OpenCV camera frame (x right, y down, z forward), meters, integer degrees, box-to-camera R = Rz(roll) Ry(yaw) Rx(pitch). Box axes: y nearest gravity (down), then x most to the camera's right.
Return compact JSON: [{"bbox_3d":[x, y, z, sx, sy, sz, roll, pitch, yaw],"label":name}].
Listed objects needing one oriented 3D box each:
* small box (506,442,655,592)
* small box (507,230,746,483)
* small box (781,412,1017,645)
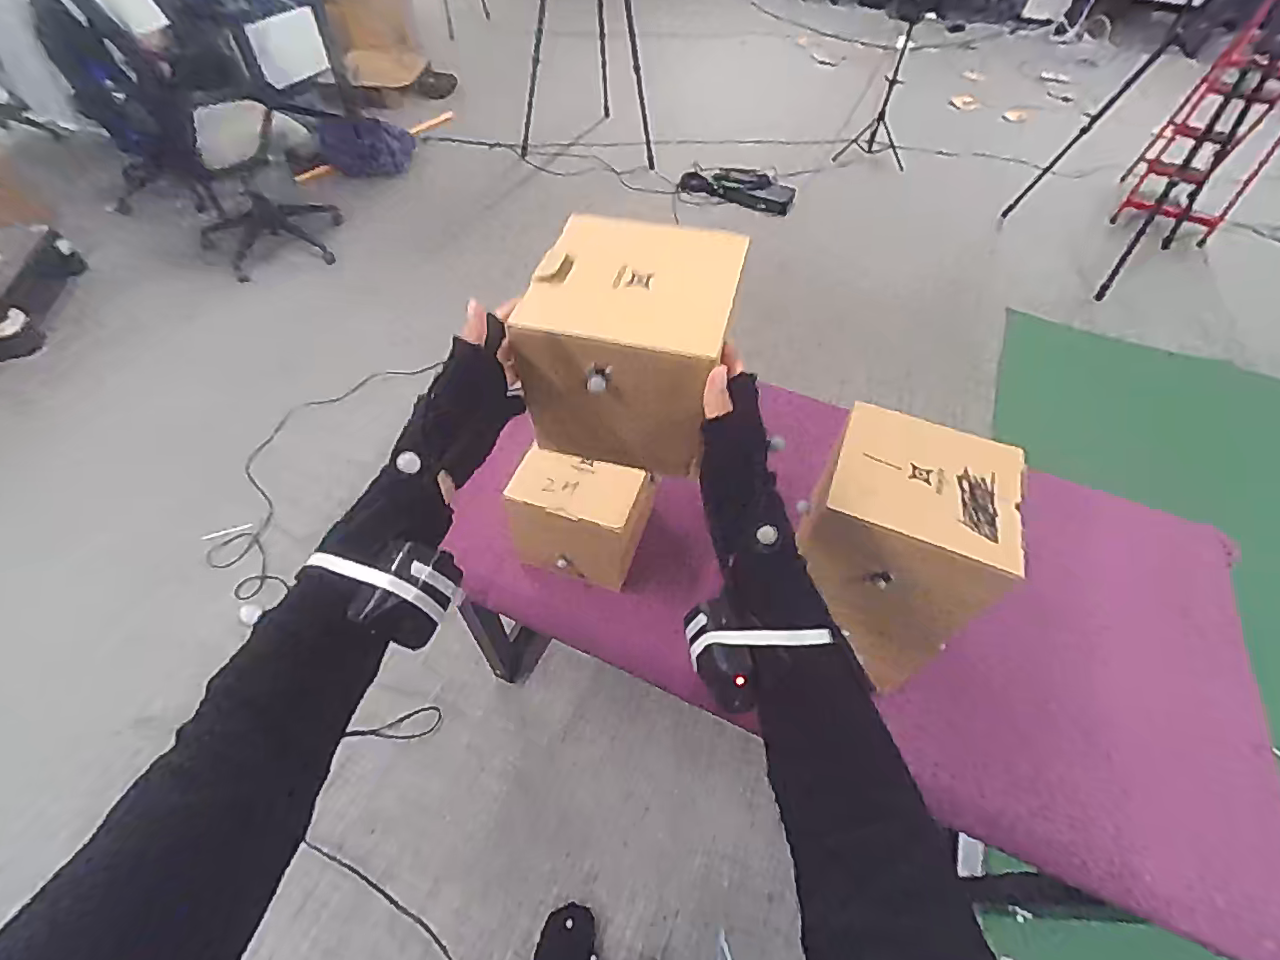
[{"bbox_3d":[-0.079,0.034,0.803,0.168,0.176,0.179,17,52,9],"label":"small box"},{"bbox_3d":[-0.005,-0.116,0.541,0.179,0.176,0.168,12,57,9],"label":"small box"},{"bbox_3d":[0.279,0.060,0.602,0.179,0.176,0.168,21,53,14],"label":"small box"}]
